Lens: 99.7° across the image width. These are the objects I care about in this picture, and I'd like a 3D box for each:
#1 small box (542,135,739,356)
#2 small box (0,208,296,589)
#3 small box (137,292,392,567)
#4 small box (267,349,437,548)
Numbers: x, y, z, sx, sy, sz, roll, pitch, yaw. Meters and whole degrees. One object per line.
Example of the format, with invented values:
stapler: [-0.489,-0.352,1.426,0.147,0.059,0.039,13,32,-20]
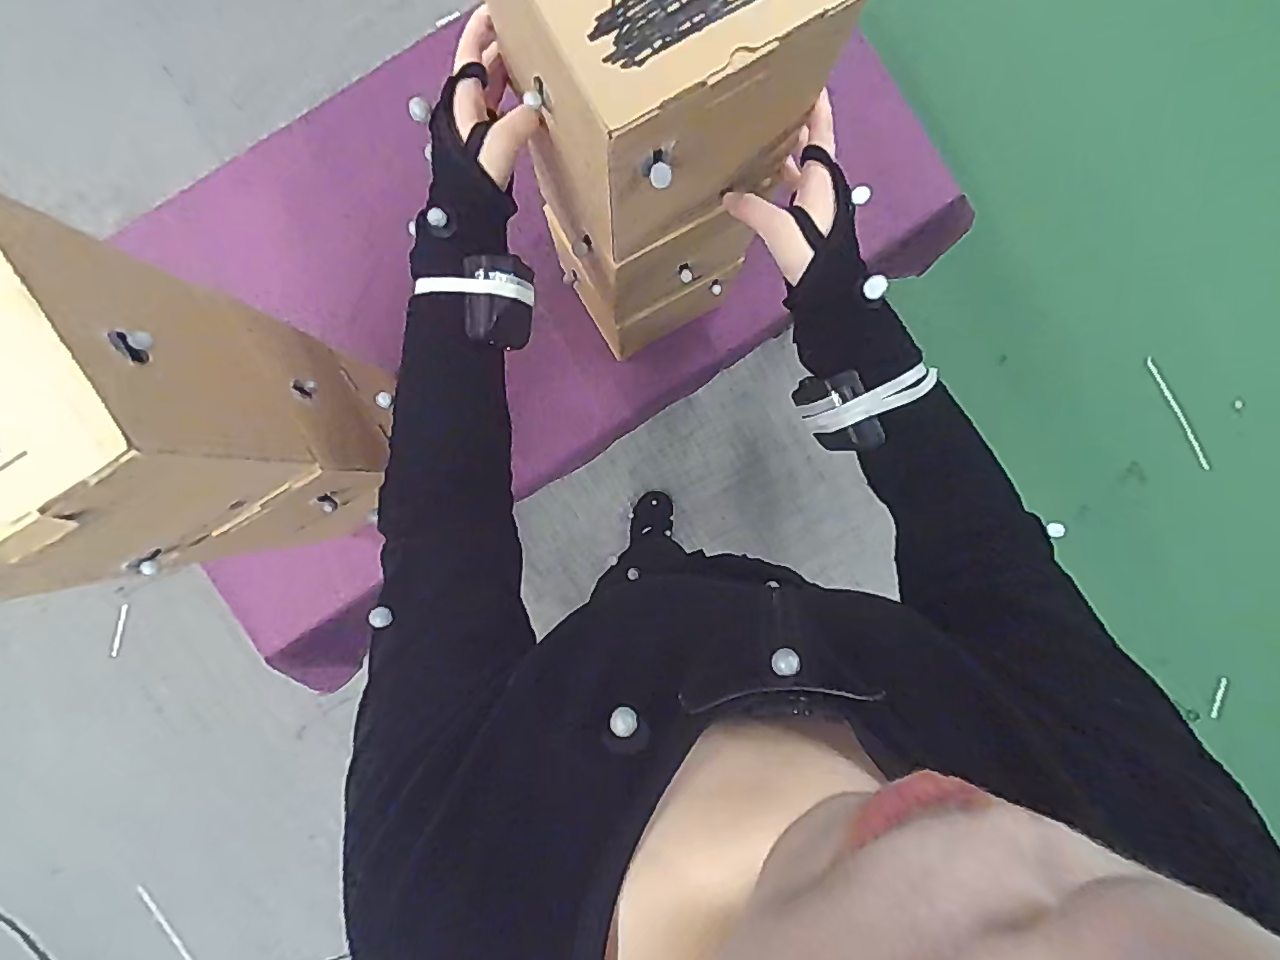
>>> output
small box: [0.000,-0.282,0.696,0.179,0.176,0.168,-31,91,-2]
small box: [-0.378,-0.043,0.354,0.168,0.176,0.179,-33,90,-2]
small box: [-0.376,-0.042,0.519,0.168,0.176,0.179,-30,90,-2]
small box: [-0.380,-0.036,0.682,0.179,0.176,0.168,-32,91,-3]
